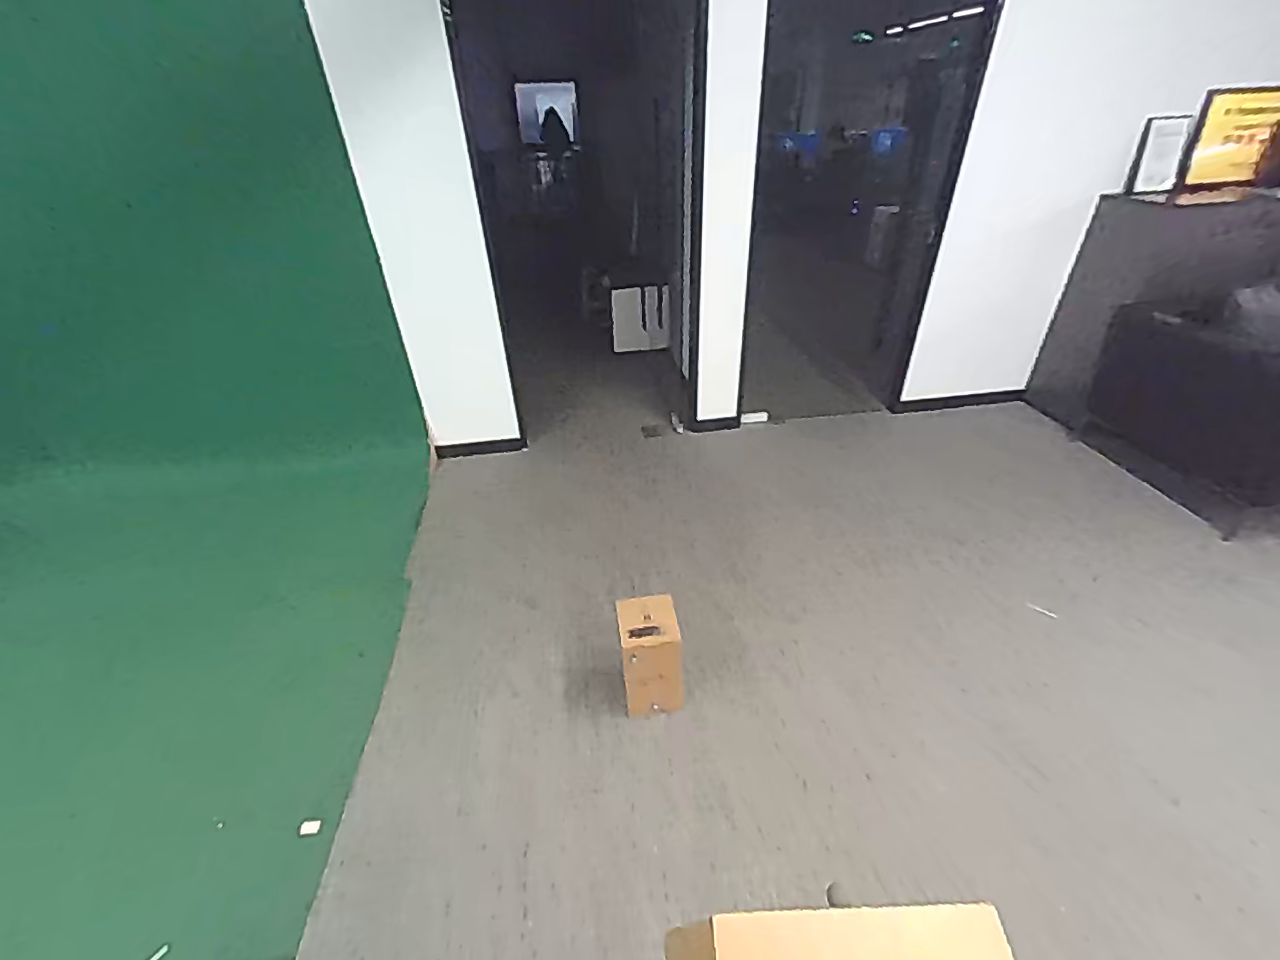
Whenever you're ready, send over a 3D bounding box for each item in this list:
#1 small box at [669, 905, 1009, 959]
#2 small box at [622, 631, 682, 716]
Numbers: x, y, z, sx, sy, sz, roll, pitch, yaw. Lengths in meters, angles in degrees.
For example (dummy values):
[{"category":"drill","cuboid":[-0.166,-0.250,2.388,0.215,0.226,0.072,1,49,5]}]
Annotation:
[{"category":"small box","cuboid":[0.113,0.359,0.307,0.168,0.176,0.179,3,51,-7]},{"category":"small box","cuboid":[0.034,0.595,1.667,0.168,0.176,0.179,-6,36,-4]}]
